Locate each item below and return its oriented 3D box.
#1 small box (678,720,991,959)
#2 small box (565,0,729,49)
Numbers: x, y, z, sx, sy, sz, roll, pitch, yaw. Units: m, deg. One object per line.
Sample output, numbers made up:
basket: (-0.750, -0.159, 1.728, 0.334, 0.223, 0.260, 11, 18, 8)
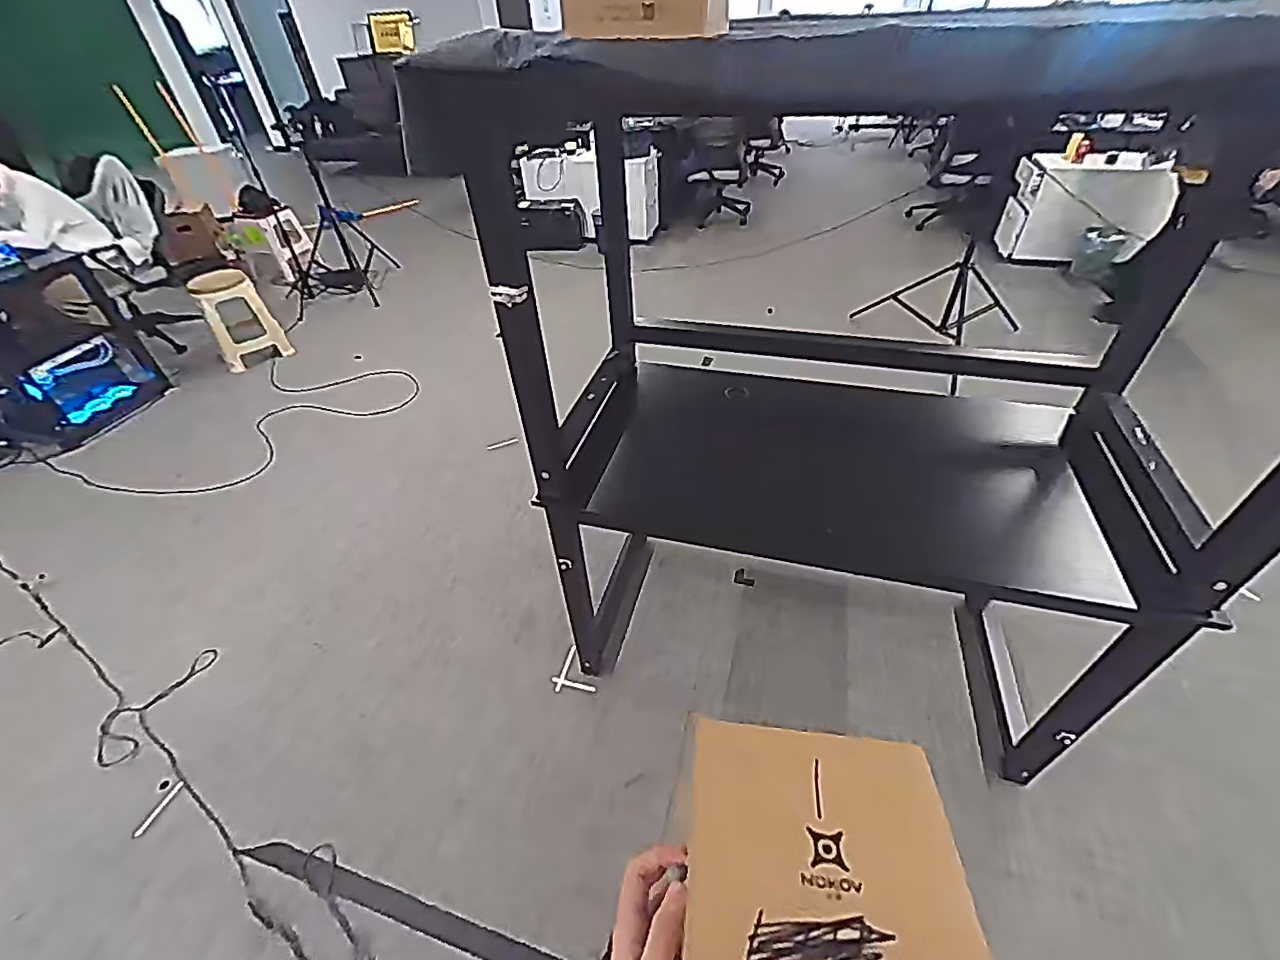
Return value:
small box: (0.115, 0.303, 0.375, 0.168, 0.176, 0.179, 5, 33, 6)
small box: (0.013, -0.601, 0.612, 0.168, 0.176, 0.179, 9, 41, 13)
